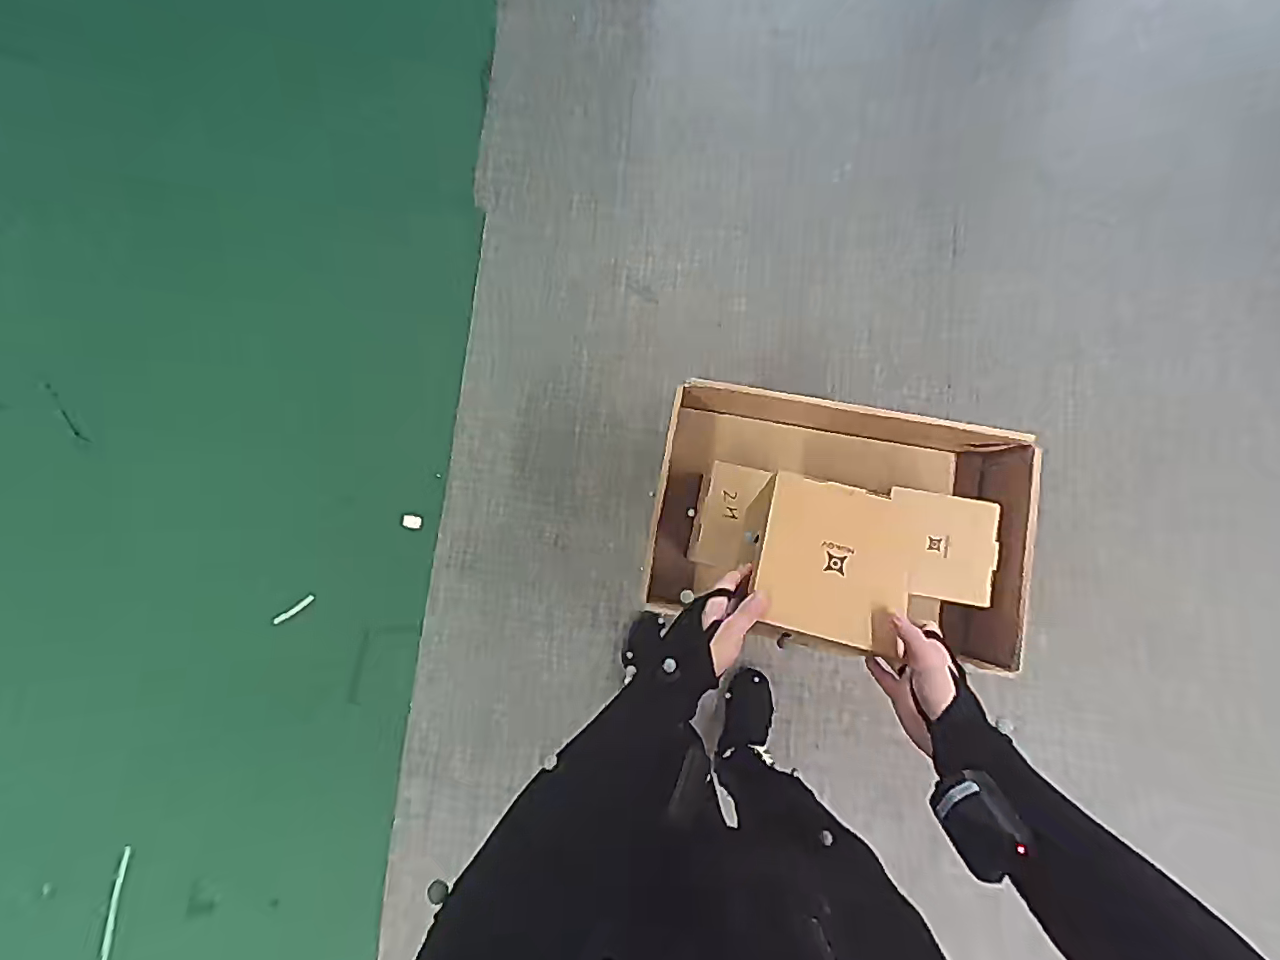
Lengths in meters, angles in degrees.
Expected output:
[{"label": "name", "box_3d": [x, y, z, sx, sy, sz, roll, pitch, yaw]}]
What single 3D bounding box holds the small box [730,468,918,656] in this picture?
[{"label": "small box", "box_3d": [0.214, 0.109, 0.668, 0.168, 0.176, 0.179, 14, 72, 4]}]
